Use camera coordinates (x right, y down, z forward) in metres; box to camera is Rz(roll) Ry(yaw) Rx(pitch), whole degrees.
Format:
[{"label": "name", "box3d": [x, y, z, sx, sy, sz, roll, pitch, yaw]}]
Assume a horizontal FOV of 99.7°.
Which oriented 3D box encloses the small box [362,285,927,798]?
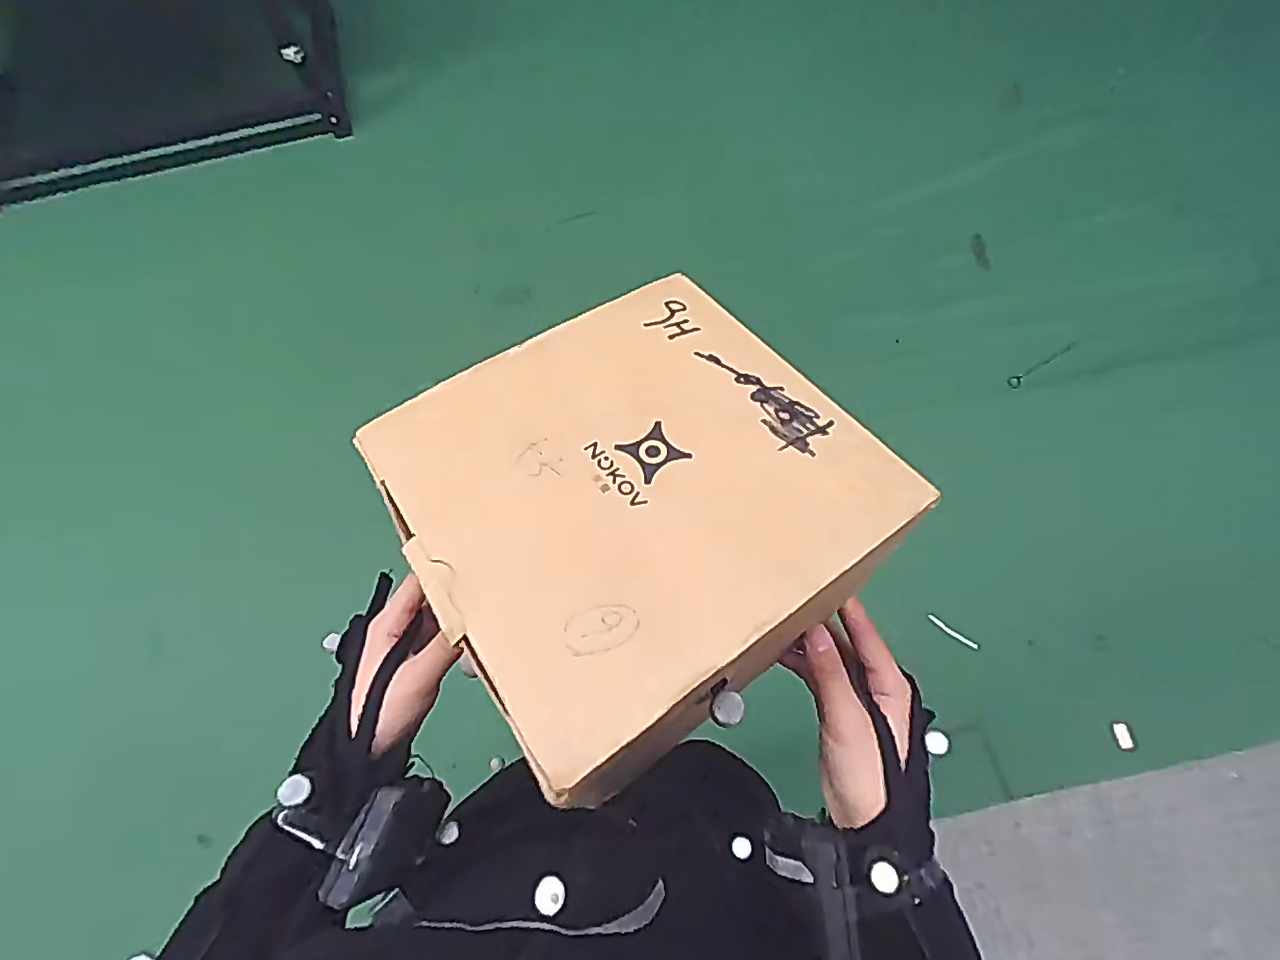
[{"label": "small box", "box3d": [-0.001, 0.040, 0.285, 0.179, 0.176, 0.168, -31, 62, -17]}]
